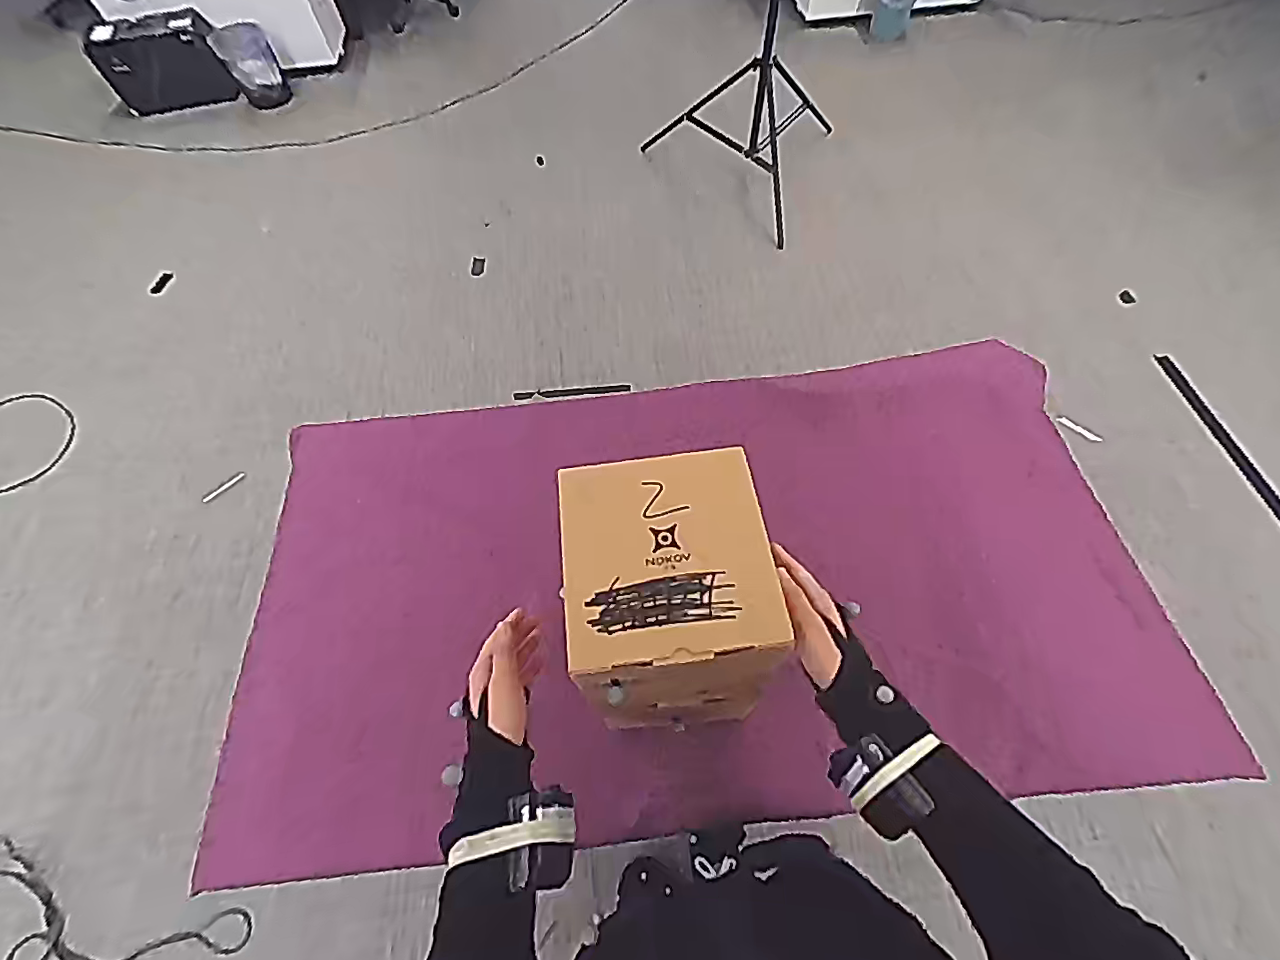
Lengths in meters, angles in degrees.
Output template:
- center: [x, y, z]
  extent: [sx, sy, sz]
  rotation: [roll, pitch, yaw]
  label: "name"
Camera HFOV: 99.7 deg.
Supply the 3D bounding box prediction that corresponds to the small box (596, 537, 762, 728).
- center: [0.037, 0.185, 0.640]
  extent: [0.168, 0.176, 0.179]
  rotation: [-5, 60, 0]
  label: "small box"
